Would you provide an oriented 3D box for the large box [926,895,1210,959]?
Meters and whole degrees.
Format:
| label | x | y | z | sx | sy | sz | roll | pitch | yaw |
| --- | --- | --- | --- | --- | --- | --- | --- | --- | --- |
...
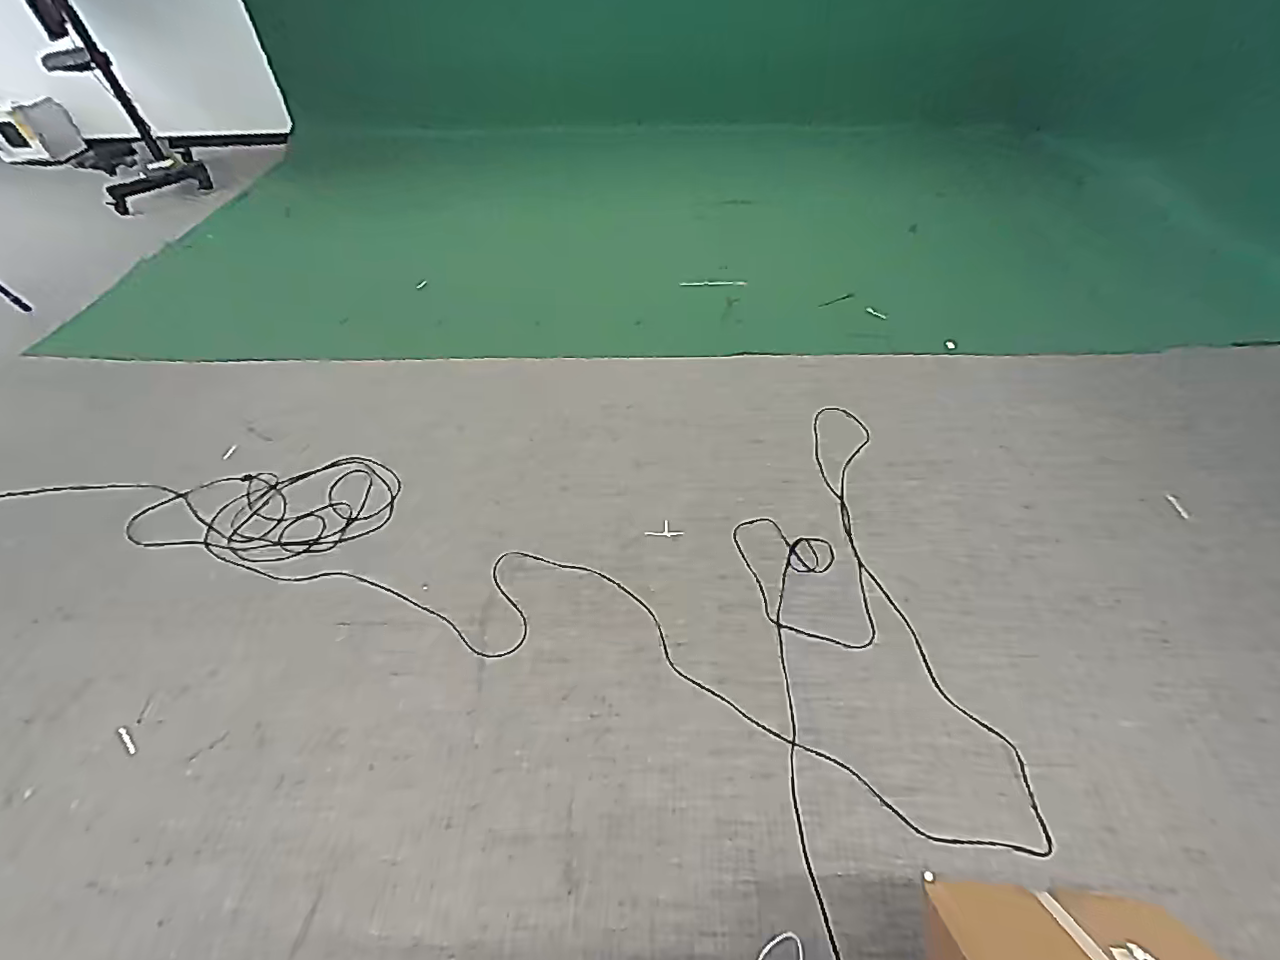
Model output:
| label | x | y | z | sx | sy | sz | roll | pitch | yaw |
| --- | --- | --- | --- | --- | --- | --- | --- | --- | --- |
| large box | 0.552 | 0.744 | 0.575 | 0.320 | 0.408 | 0.320 | -1 | 84 | 9 |
